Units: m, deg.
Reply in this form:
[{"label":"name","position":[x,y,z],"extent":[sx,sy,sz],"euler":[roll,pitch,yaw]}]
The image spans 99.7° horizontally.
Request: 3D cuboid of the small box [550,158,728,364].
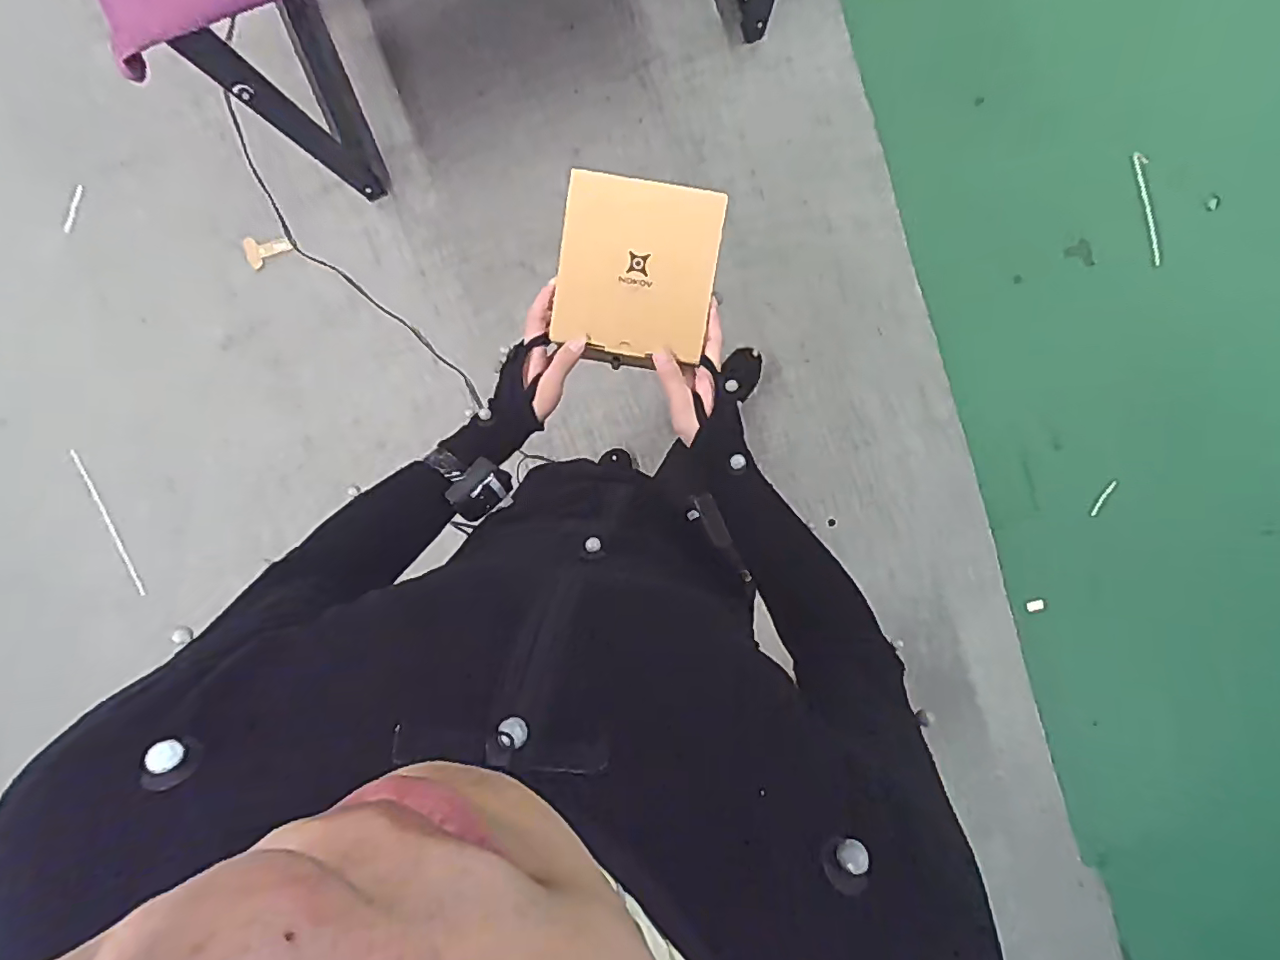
[{"label":"small box","position":[-0.004,-0.242,0.641],"extent":[0.168,0.176,0.179],"euler":[9,99,-2]}]
